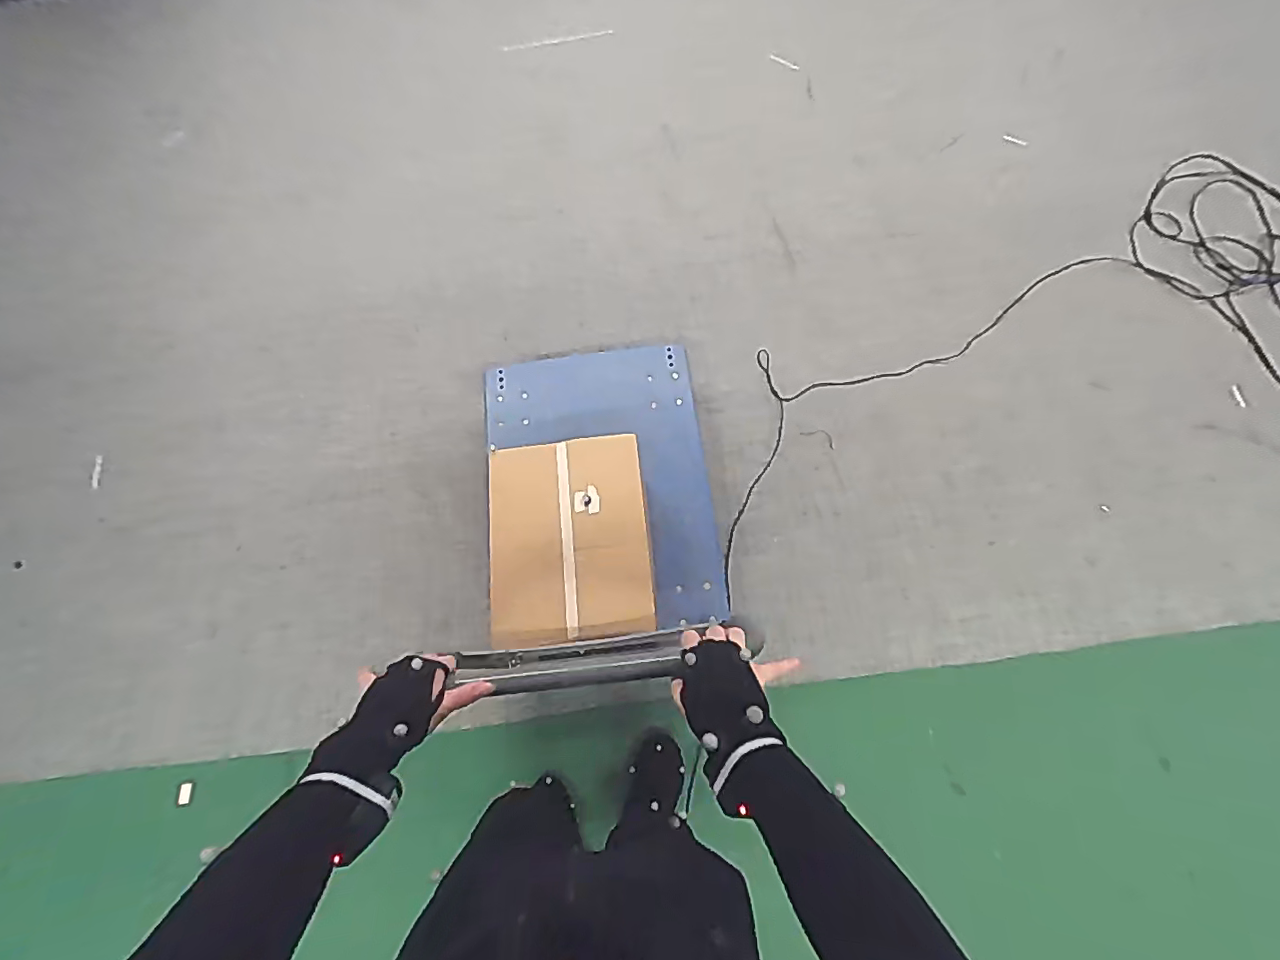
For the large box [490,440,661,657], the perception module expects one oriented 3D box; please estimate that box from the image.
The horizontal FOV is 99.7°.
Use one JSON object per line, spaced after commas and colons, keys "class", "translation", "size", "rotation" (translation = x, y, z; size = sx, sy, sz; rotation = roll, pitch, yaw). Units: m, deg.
{"class": "large box", "translation": [-0.133, 0.169, 1.213], "size": [0.320, 0.320, 0.408], "rotation": [-7, 70, 1]}
